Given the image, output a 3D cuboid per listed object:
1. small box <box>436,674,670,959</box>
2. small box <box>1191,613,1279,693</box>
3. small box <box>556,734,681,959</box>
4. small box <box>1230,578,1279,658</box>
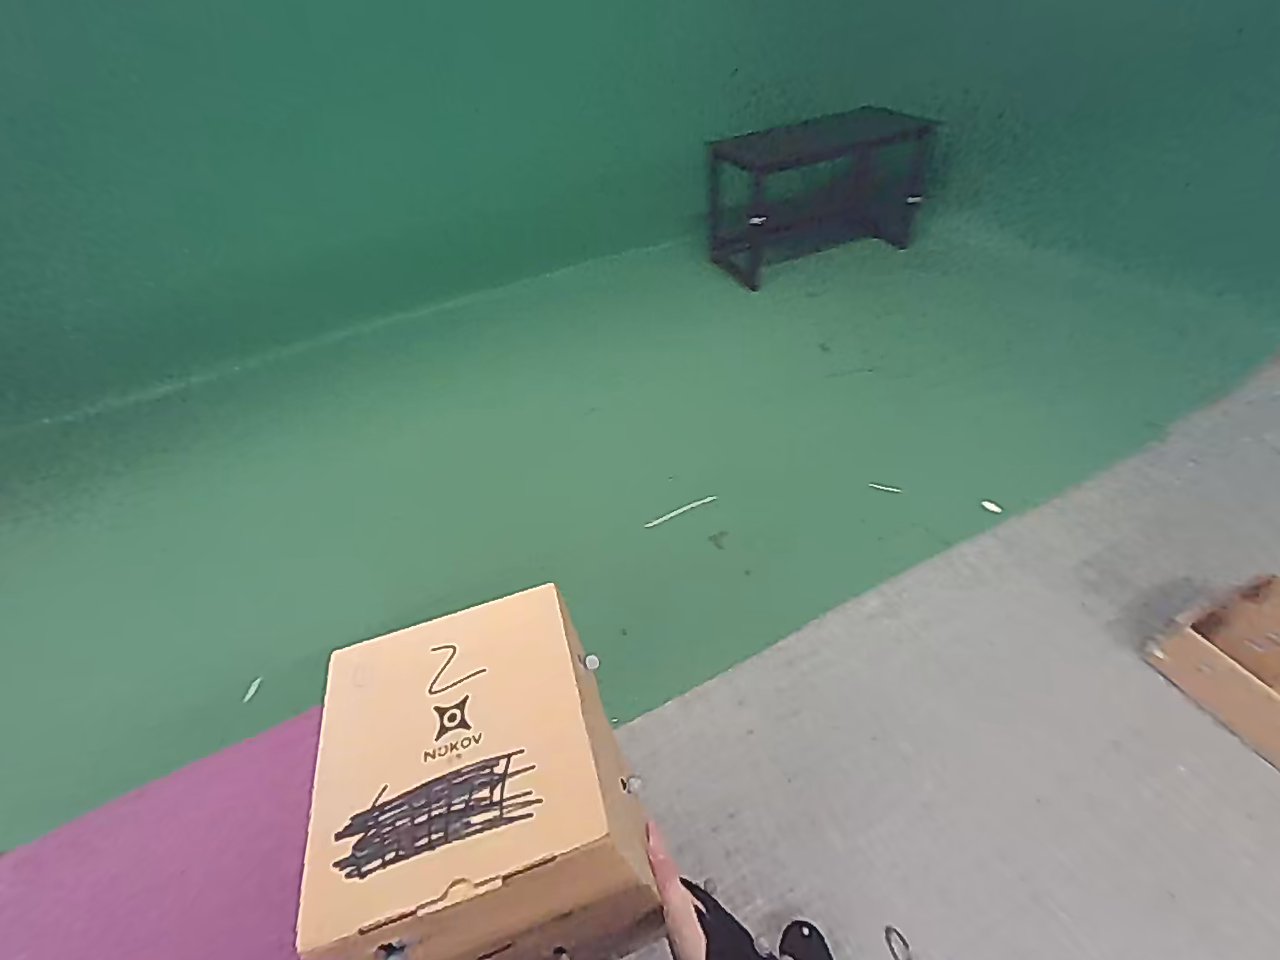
[{"bbox_3d":[-0.078,0.321,0.508,0.168,0.176,0.179,-18,47,-9],"label":"small box"},{"bbox_3d":[1.678,0.444,1.467,0.179,0.176,0.168,-20,47,-13],"label":"small box"},{"bbox_3d":[-0.059,0.432,0.625,0.168,0.176,0.179,-18,47,-8],"label":"small box"},{"bbox_3d":[1.661,0.331,1.350,0.179,0.176,0.168,-20,46,-12],"label":"small box"}]
